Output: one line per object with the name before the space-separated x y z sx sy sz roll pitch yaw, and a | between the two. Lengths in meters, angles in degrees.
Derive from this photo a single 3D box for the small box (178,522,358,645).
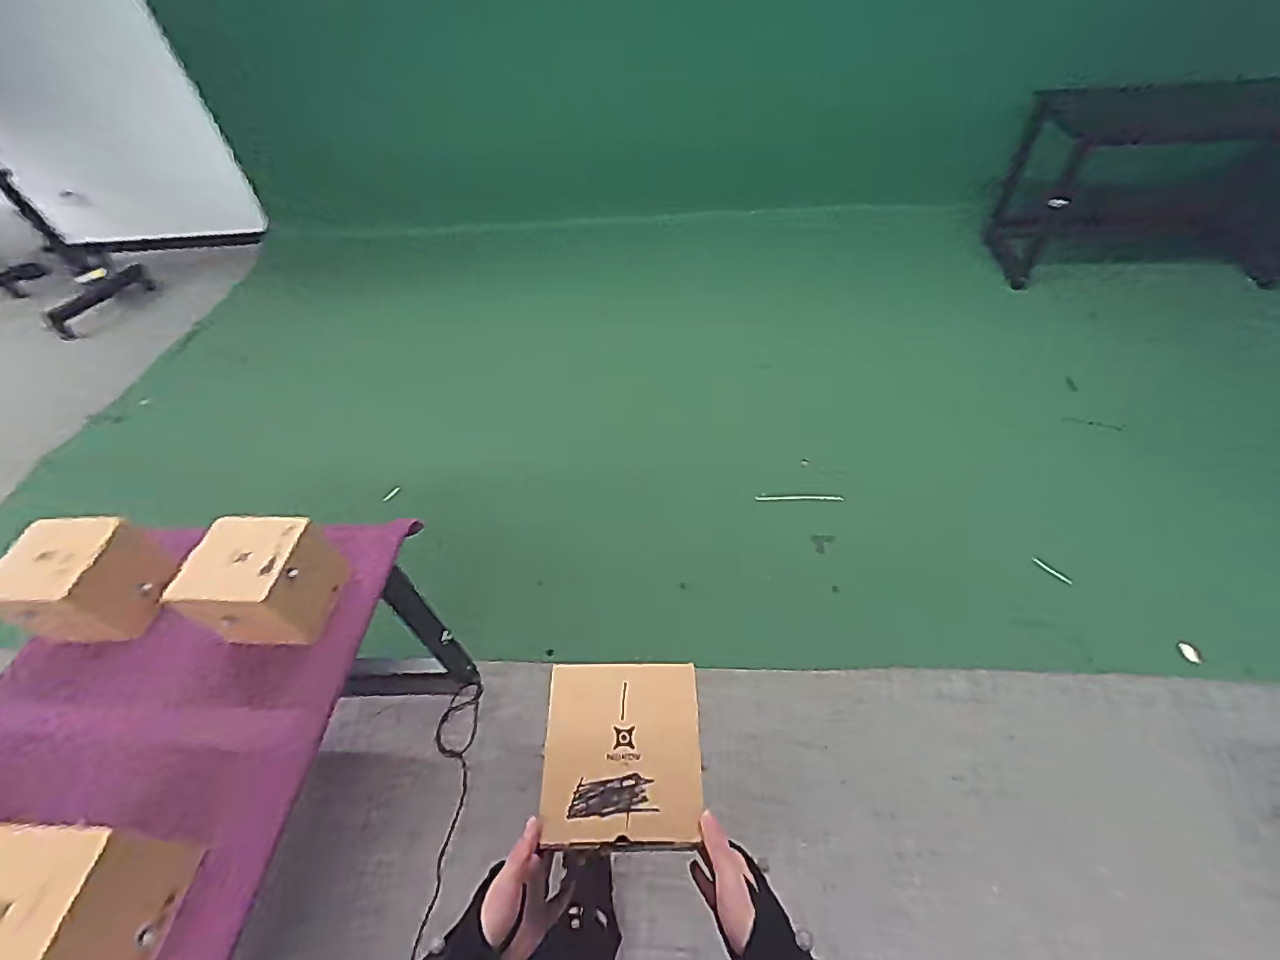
small box | -0.665 0.192 0.990 0.179 0.176 0.168 -1 51 7

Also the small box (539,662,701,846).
small box | -0.016 0.330 0.646 0.168 0.176 0.179 0 54 1

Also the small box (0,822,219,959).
small box | -0.711 0.551 0.693 0.179 0.176 0.168 -3 50 7

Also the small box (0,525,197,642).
small box | -1.018 0.201 1.029 0.179 0.176 0.168 -2 52 5
